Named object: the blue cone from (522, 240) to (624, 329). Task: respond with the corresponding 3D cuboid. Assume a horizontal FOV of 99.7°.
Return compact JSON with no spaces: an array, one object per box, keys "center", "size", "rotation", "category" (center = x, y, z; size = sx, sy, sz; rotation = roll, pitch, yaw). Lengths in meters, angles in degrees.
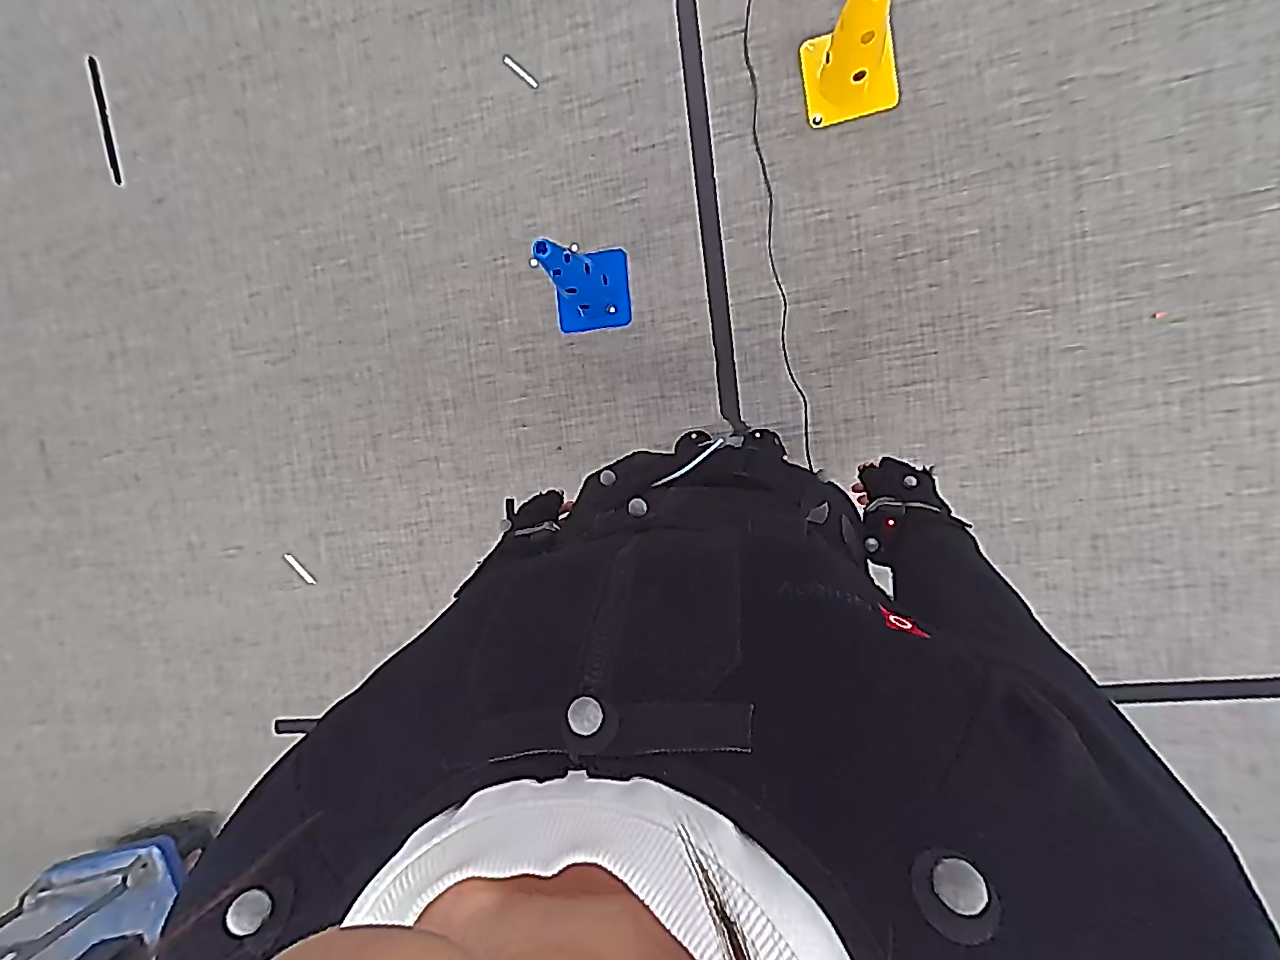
[{"center":[-0.172,-0.488,1.273],"size":[0.192,0.380,0.193],"rotation":[-2,95,13],"category":"blue cone"}]
